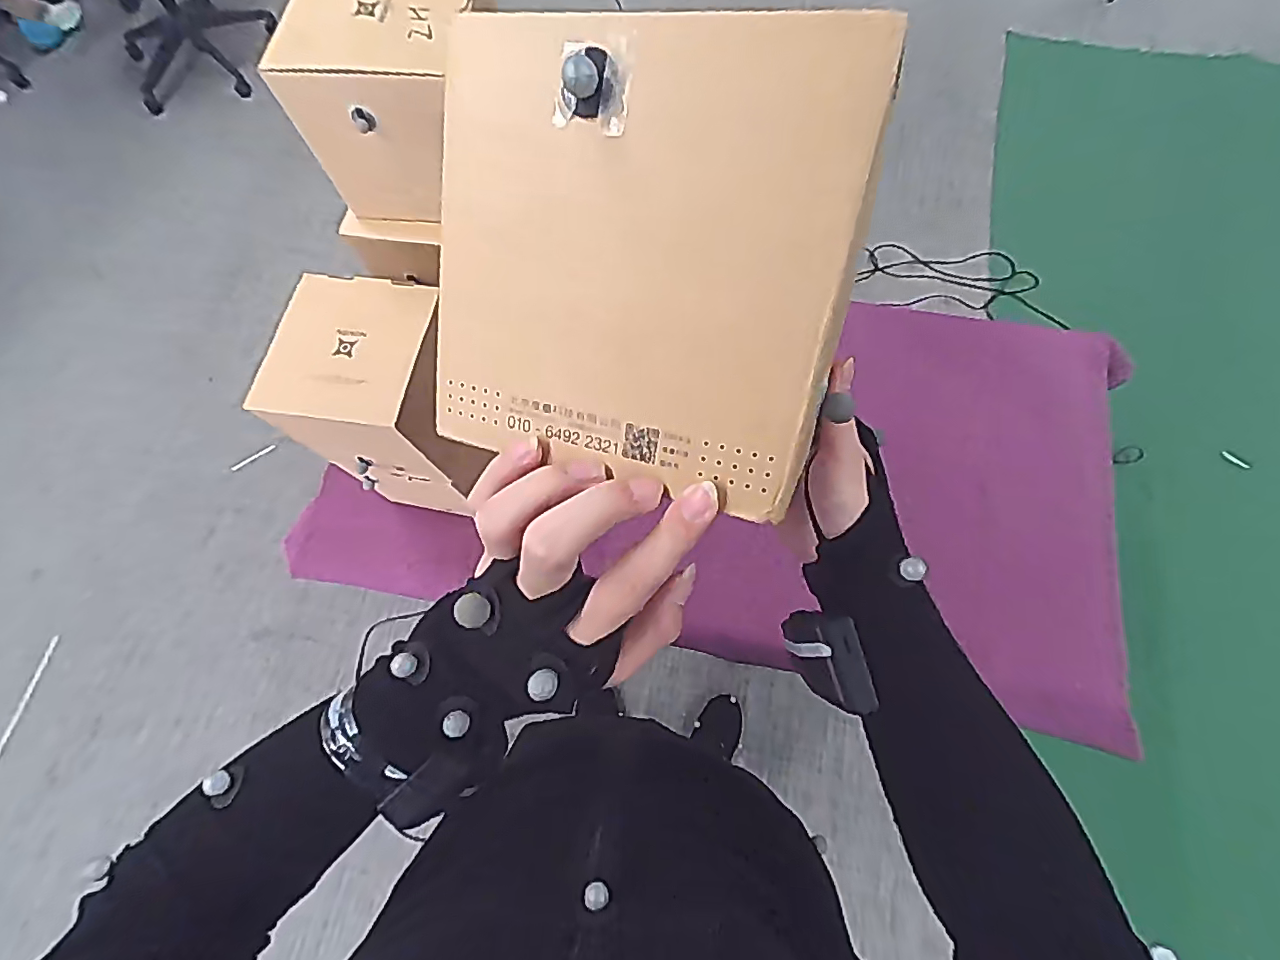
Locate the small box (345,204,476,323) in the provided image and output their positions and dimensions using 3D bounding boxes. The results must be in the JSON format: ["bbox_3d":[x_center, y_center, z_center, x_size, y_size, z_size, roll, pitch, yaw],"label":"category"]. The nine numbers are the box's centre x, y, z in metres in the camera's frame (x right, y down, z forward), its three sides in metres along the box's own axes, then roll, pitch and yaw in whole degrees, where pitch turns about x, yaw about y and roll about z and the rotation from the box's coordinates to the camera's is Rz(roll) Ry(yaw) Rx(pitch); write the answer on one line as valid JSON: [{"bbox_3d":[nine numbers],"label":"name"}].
[{"bbox_3d":[-0.250,-0.325,0.725,0.168,0.176,0.179,8,71,4],"label":"small box"}]

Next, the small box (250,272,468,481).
[{"bbox_3d":[-0.307,-0.116,0.653,0.168,0.176,0.179,8,71,5],"label":"small box"}]

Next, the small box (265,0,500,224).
[{"bbox_3d":[-0.239,-0.401,0.577,0.179,0.176,0.168,5,71,3],"label":"small box"}]

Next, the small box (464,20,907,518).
[{"bbox_3d":[0.023,-0.098,0.286,0.168,0.179,0.176,15,109,18],"label":"small box"}]
